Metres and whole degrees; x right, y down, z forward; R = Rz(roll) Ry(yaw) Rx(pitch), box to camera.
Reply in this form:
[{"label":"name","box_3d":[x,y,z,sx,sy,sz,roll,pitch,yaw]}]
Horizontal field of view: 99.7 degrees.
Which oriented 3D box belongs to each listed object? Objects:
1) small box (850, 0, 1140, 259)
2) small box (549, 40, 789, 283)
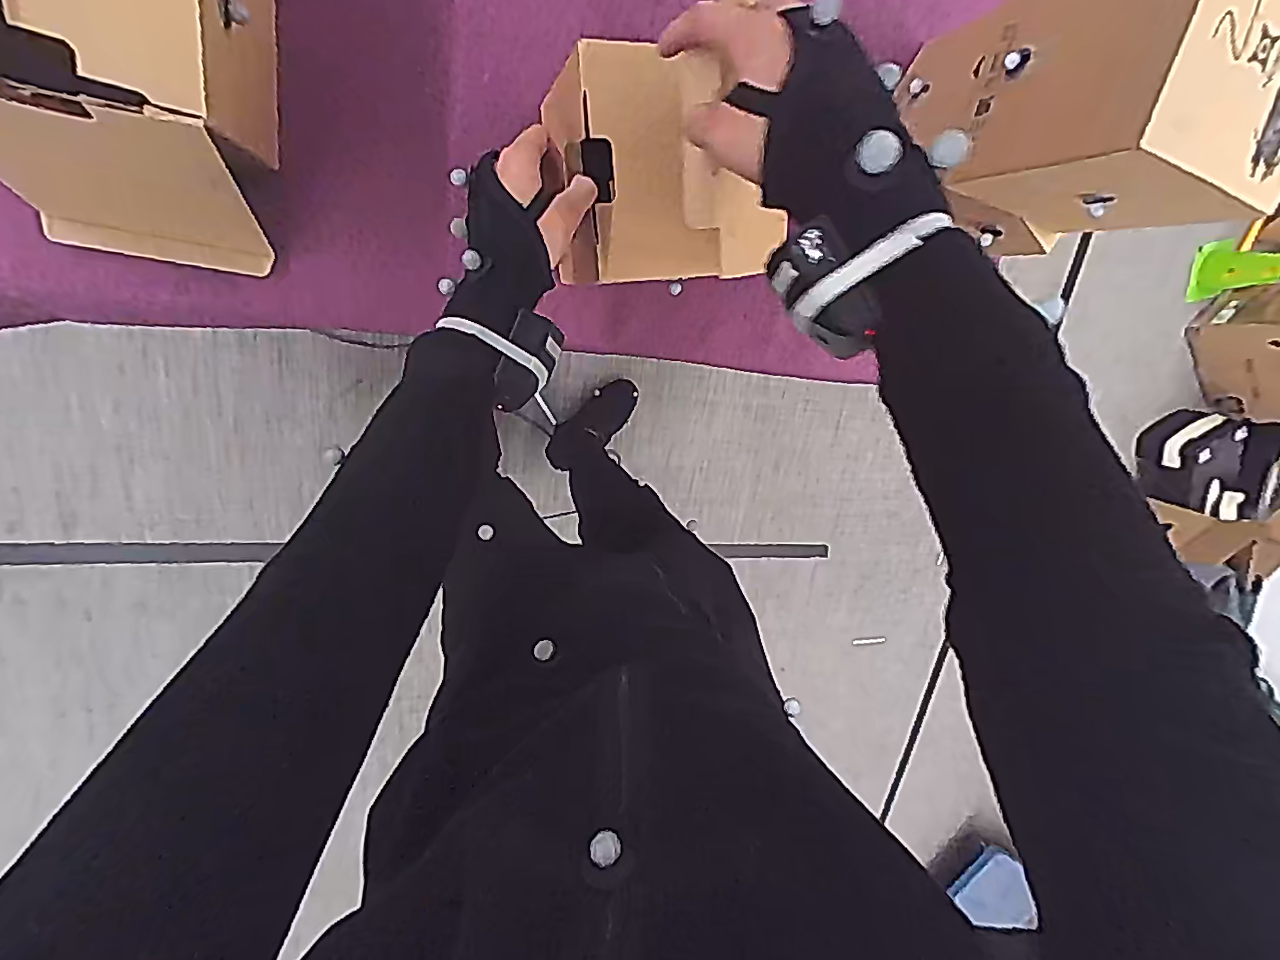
[{"label":"small box","box_3d":[0.378,-0.368,0.598,0.179,0.176,0.168,29,98,-26]},{"label":"small box","box_3d":[0.015,-0.275,0.505,0.179,0.176,0.168,-10,113,-16]}]
